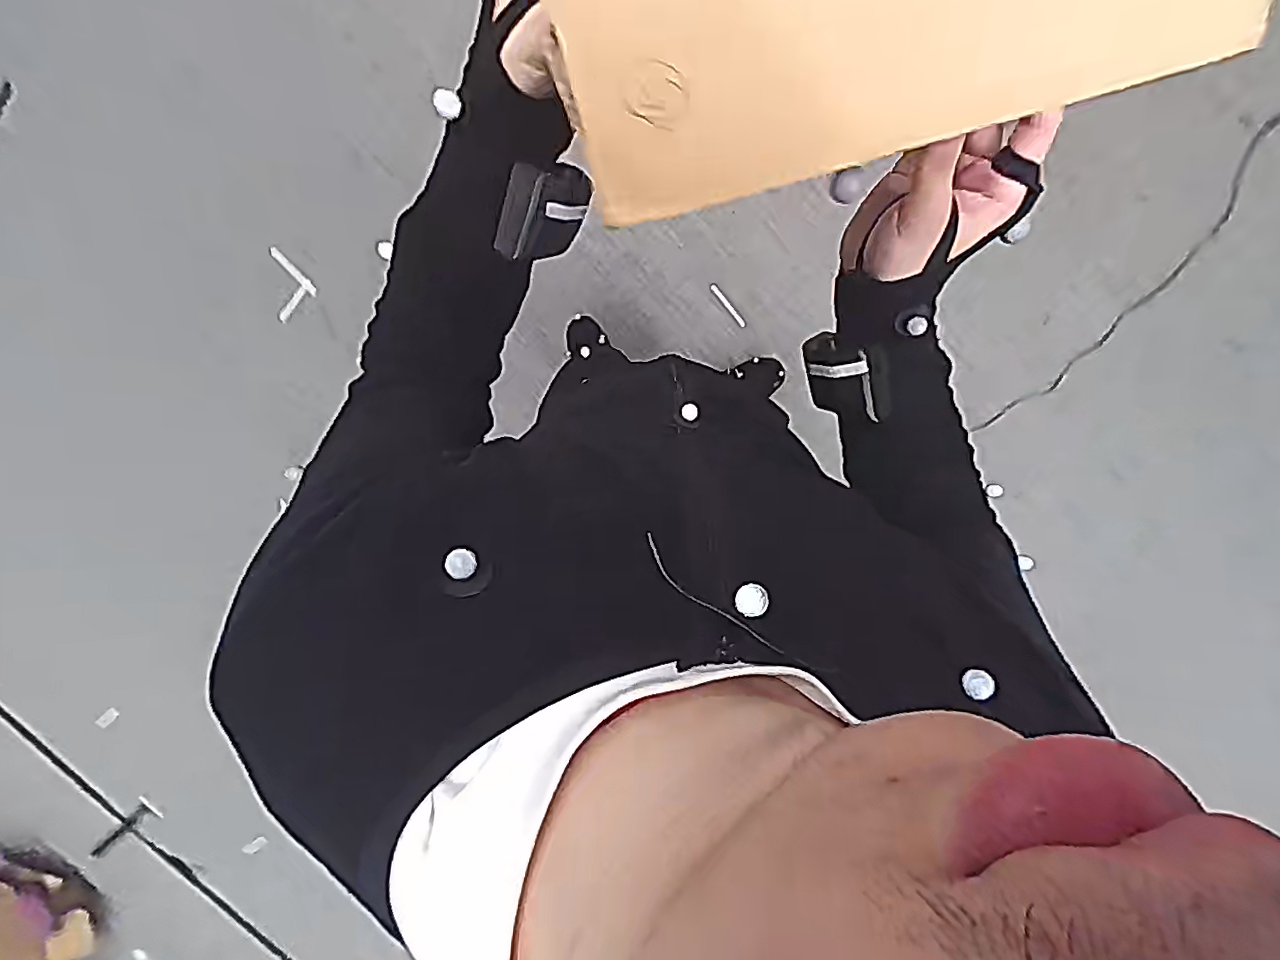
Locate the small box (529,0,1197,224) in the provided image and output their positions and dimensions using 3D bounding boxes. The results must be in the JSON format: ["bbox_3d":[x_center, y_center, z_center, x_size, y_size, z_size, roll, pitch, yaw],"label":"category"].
[{"bbox_3d":[0.059,-0.215,0.198,0.179,0.176,0.168,-9,122,20],"label":"small box"}]
